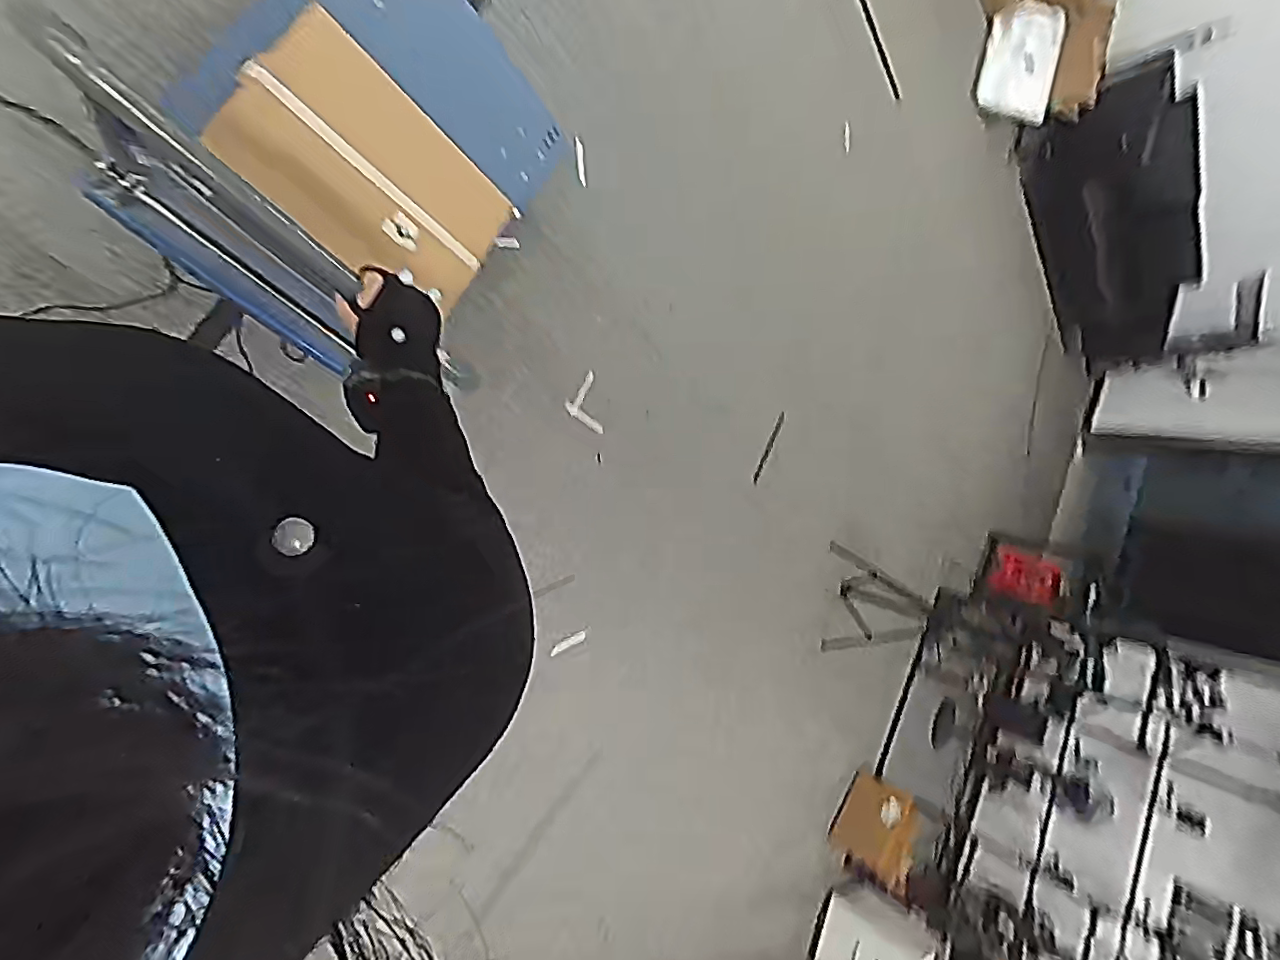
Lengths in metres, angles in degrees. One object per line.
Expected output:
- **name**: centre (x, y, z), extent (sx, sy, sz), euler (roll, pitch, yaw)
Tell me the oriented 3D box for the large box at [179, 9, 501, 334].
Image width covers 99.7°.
- **large box**: centre (-0.563, -0.533, 1.037), extent (0.408, 0.320, 0.320), euler (38, 74, -40)
